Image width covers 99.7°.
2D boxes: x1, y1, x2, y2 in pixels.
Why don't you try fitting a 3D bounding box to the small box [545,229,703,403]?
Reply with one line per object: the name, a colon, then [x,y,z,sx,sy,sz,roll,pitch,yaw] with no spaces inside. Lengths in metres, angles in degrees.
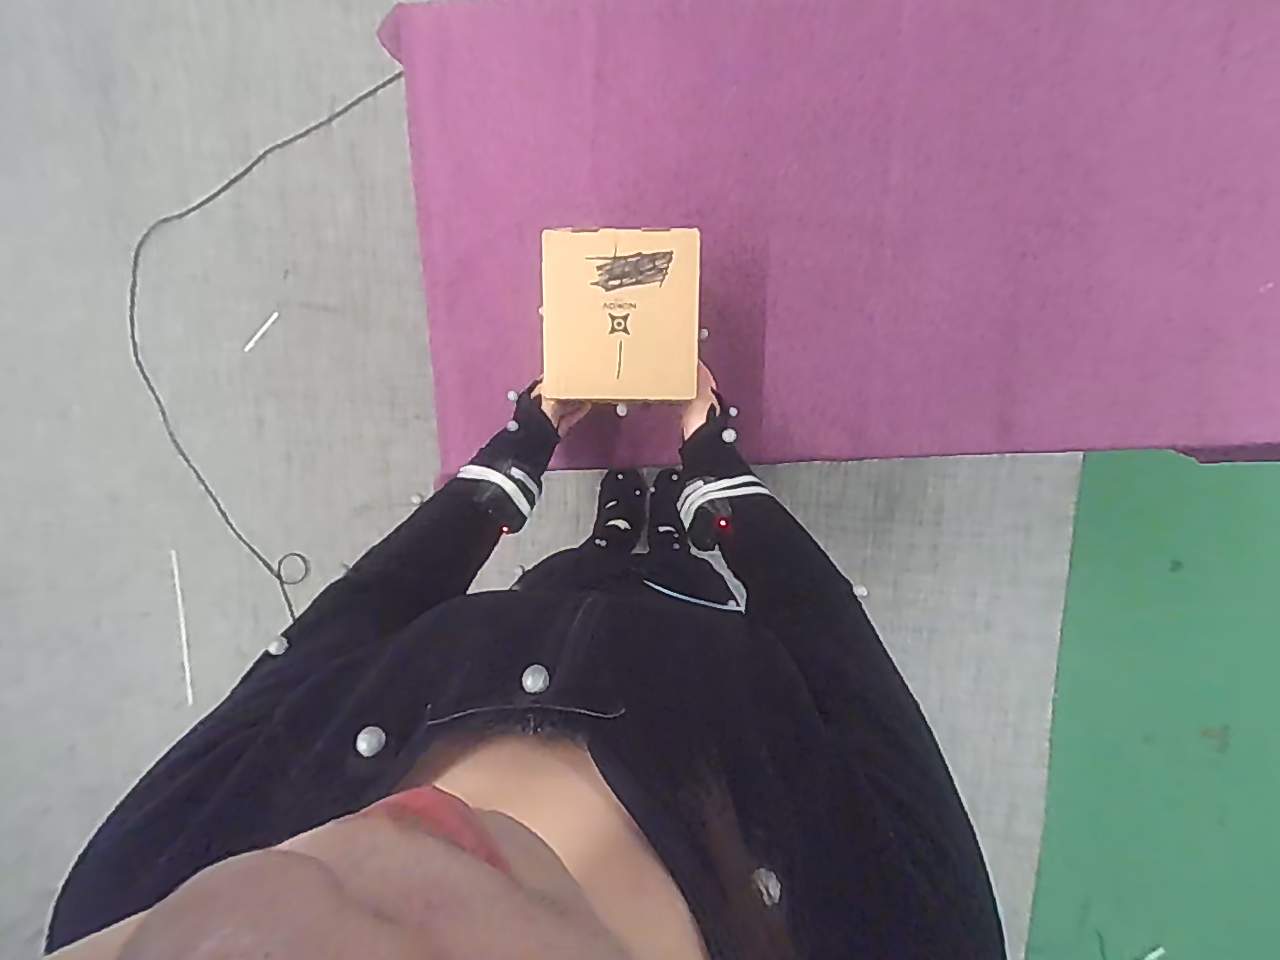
small box: [-0.016,-0.184,0.650,0.168,0.176,0.179,1,98,3]
